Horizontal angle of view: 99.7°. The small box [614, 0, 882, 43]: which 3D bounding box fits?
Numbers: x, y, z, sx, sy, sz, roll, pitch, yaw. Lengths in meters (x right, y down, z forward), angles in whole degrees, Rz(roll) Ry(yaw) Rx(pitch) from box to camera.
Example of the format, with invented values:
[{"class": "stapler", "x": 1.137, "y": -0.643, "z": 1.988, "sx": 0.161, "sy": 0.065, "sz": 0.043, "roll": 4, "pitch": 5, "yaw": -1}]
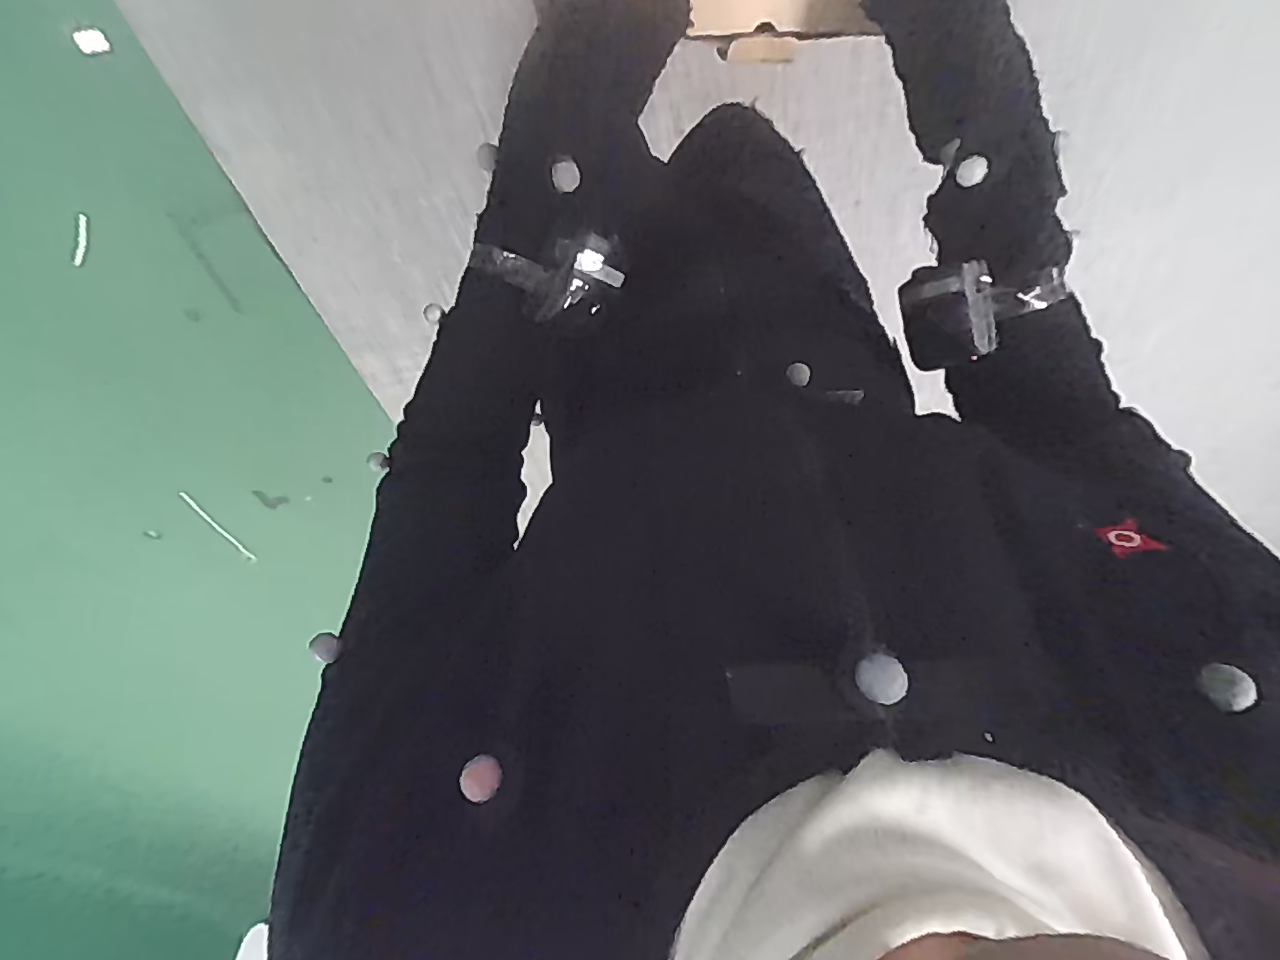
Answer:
[{"class": "small box", "x": 0.062, "y": -0.401, "z": 0.341, "sx": 0.168, "sy": 0.176, "sz": 0.179, "roll": -6, "pitch": 135, "yaw": -4}]
